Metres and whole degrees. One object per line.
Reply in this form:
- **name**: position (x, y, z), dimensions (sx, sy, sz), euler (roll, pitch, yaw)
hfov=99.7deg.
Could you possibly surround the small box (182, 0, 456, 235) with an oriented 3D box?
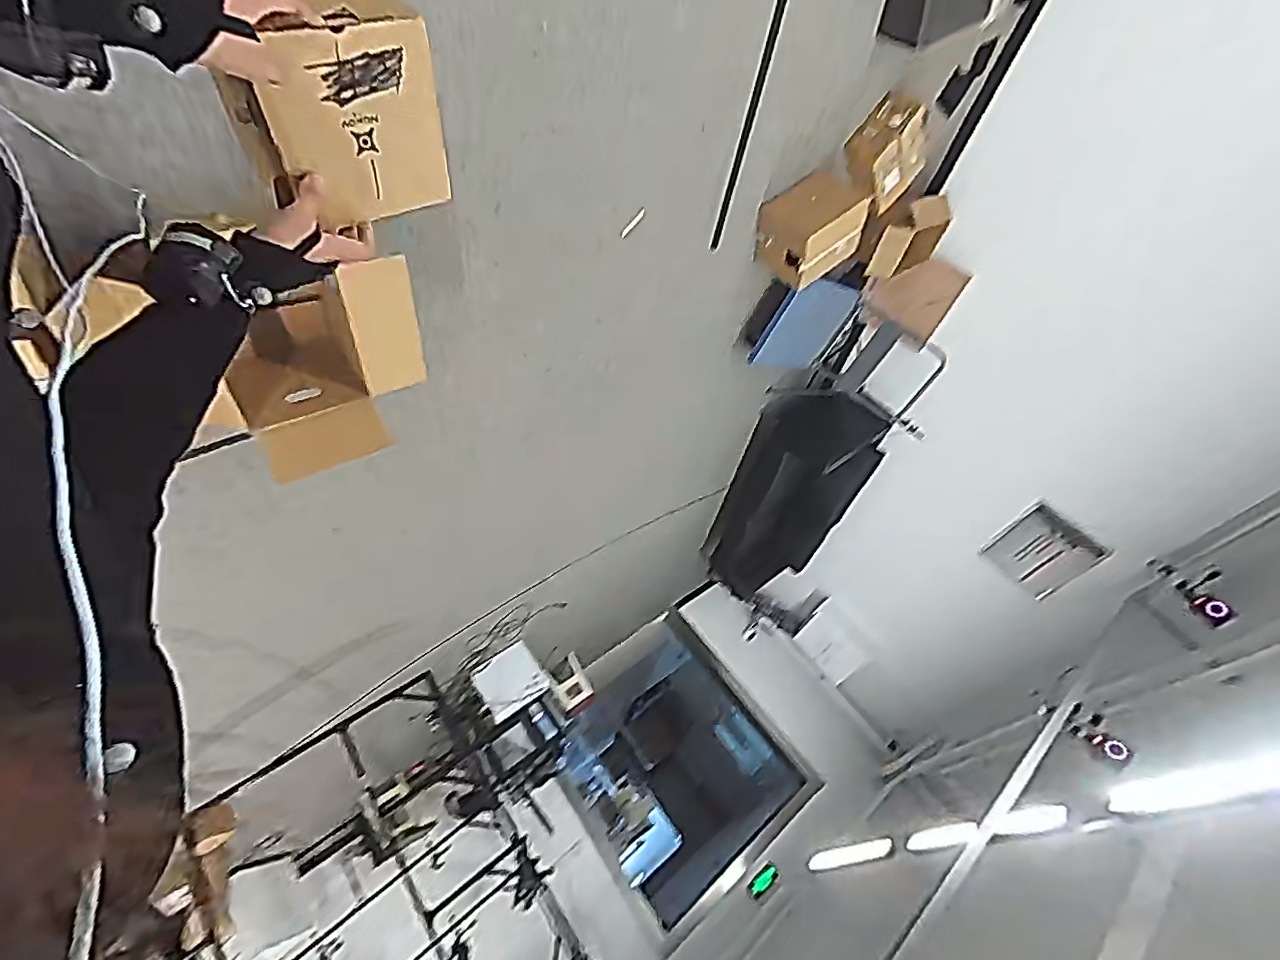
- **small box**: position (-0.319, -0.396, 0.558), dimensions (0.168, 0.176, 0.179), euler (-33, 157, -26)
